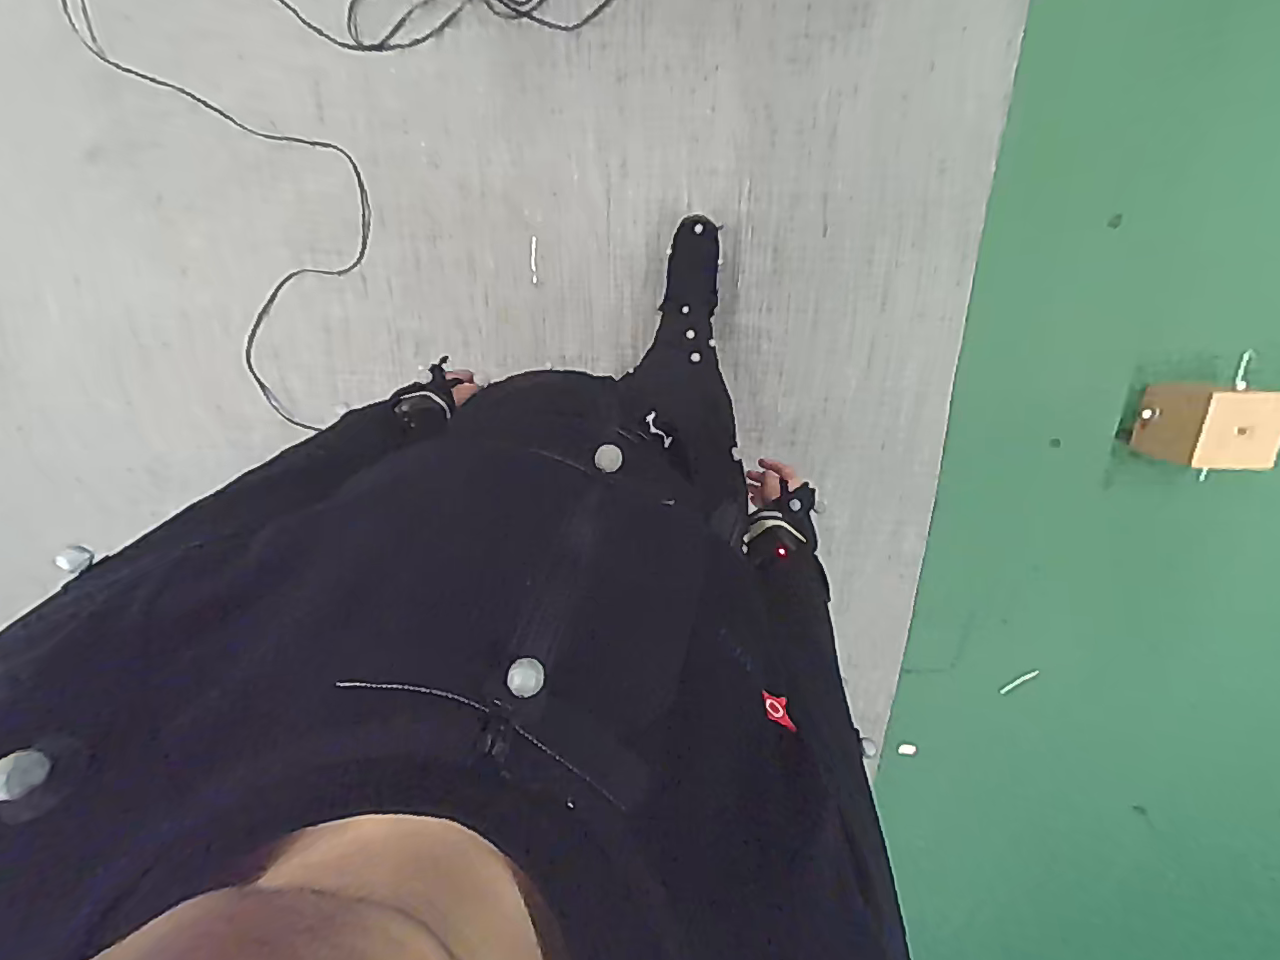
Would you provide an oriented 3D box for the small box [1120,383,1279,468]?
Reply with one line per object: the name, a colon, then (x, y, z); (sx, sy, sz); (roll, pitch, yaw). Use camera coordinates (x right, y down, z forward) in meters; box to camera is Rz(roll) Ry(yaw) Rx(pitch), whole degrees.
small box: (1.267, -0.129, 1.231); (0.179, 0.176, 0.168); (1, 107, 1)
